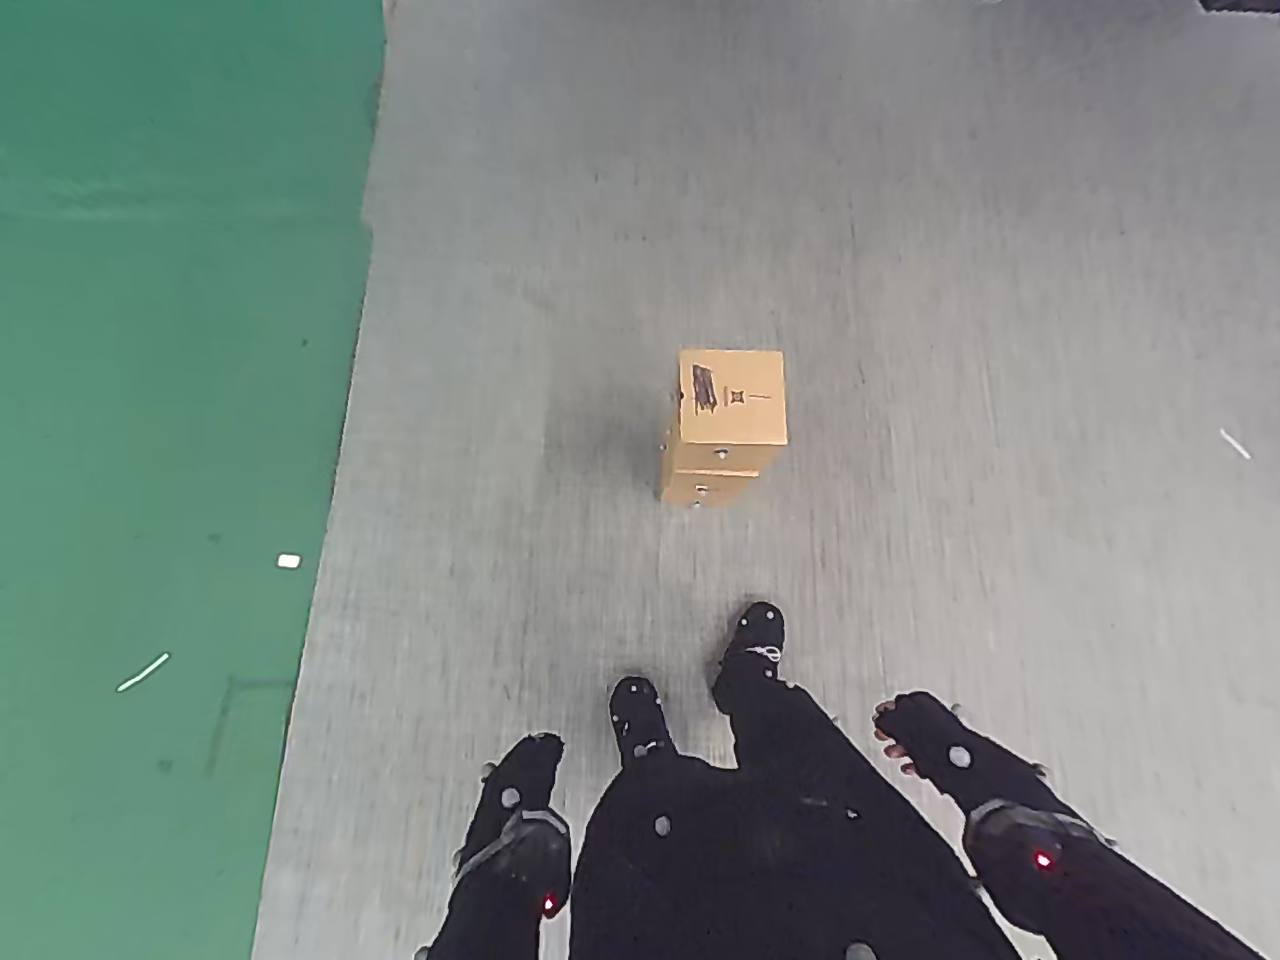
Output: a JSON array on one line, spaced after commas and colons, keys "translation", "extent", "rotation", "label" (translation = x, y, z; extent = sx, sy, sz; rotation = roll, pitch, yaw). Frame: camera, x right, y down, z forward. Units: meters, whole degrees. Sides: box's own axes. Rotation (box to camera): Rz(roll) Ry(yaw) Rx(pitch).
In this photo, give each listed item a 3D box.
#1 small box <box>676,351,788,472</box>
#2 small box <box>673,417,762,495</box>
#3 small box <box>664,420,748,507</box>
[{"translation": [0.153, -0.114, 0.958], "extent": [0.179, 0.176, 0.168], "rotation": [1, 77, 1], "label": "small box"}, {"translation": [0.156, -0.073, 1.117], "extent": [0.168, 0.176, 0.179], "rotation": [3, 78, 2], "label": "small box"}, {"translation": [0.154, -0.034, 1.275], "extent": [0.179, 0.176, 0.168], "rotation": [5, 77, 1], "label": "small box"}]
